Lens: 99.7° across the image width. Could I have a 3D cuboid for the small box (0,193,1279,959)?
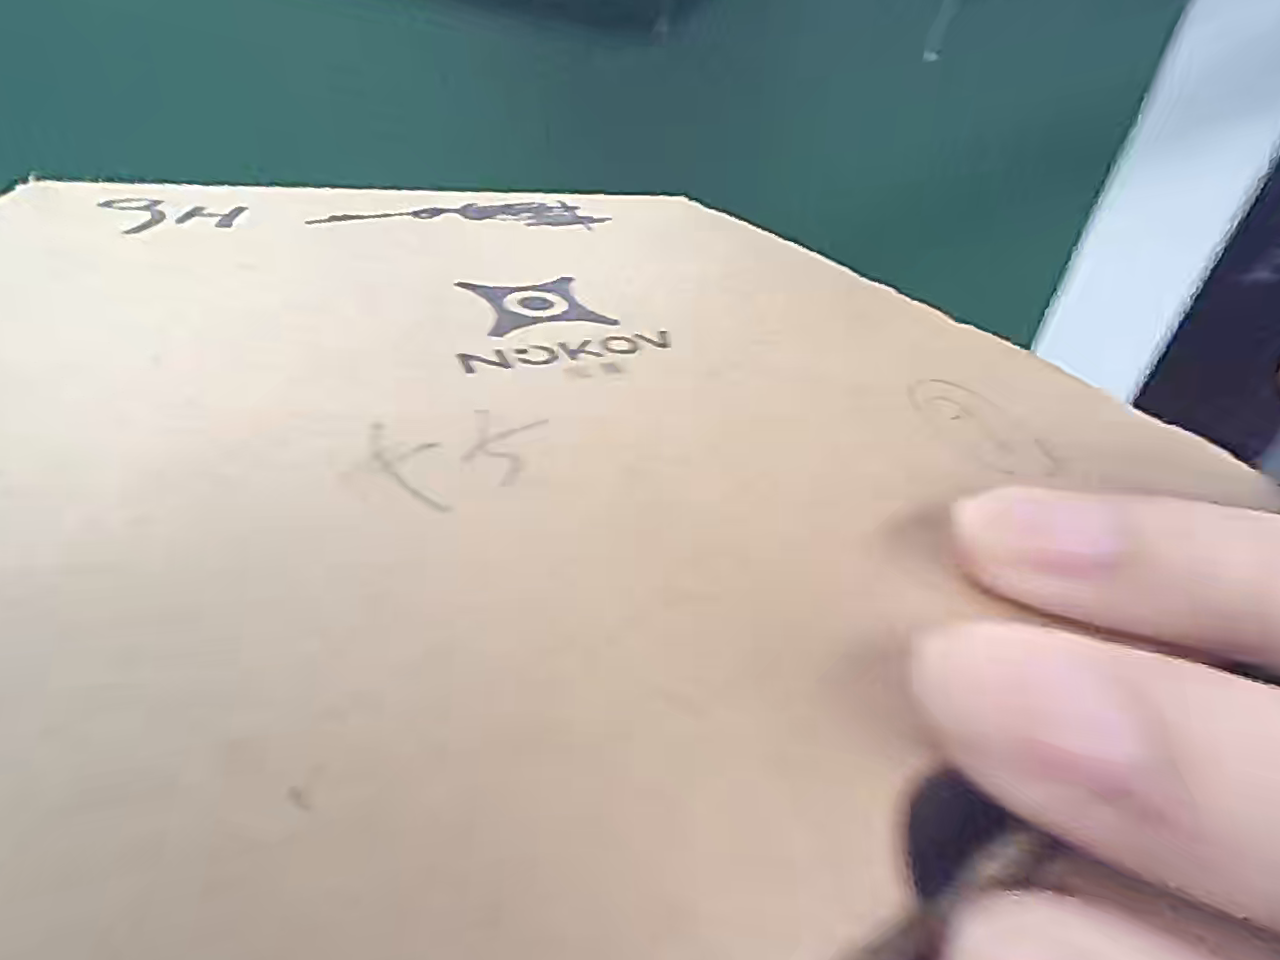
[{"bbox_3d":[-0.026,0.040,0.143,0.168,0.176,0.179,-11,43,-25],"label":"small box"}]
